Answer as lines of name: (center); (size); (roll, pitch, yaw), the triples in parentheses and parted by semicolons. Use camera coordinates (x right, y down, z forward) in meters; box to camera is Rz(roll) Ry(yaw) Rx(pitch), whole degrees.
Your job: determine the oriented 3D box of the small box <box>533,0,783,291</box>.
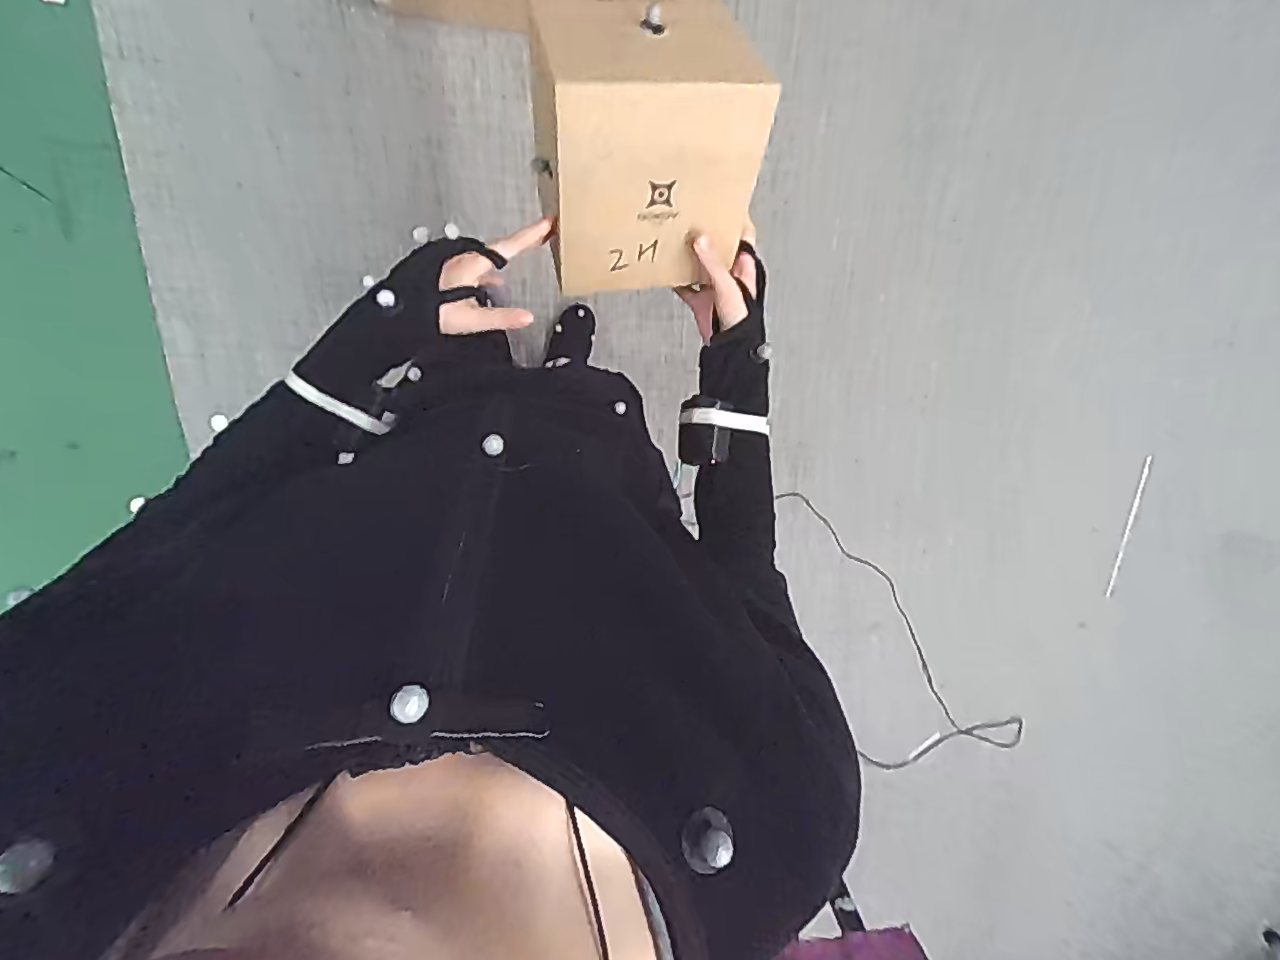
small box: (-0.001, -0.297, 0.480); (0.168, 0.176, 0.179); (-7, 149, -11)
